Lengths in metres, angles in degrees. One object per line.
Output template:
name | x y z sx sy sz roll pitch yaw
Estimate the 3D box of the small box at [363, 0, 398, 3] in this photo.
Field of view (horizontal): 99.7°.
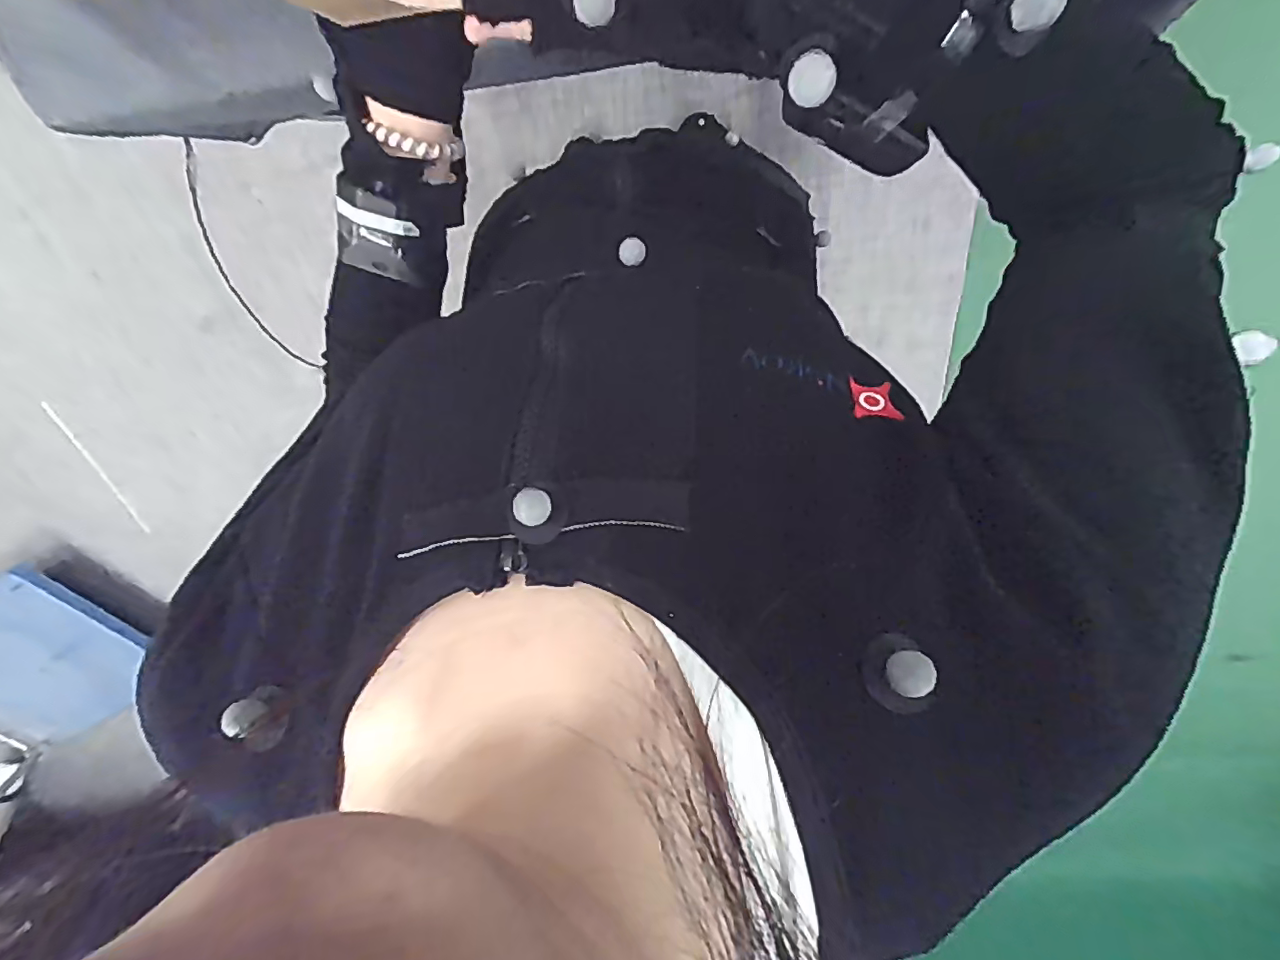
small box | -0.087 -0.289 0.177 0.168 0.176 0.179 -8 121 1
